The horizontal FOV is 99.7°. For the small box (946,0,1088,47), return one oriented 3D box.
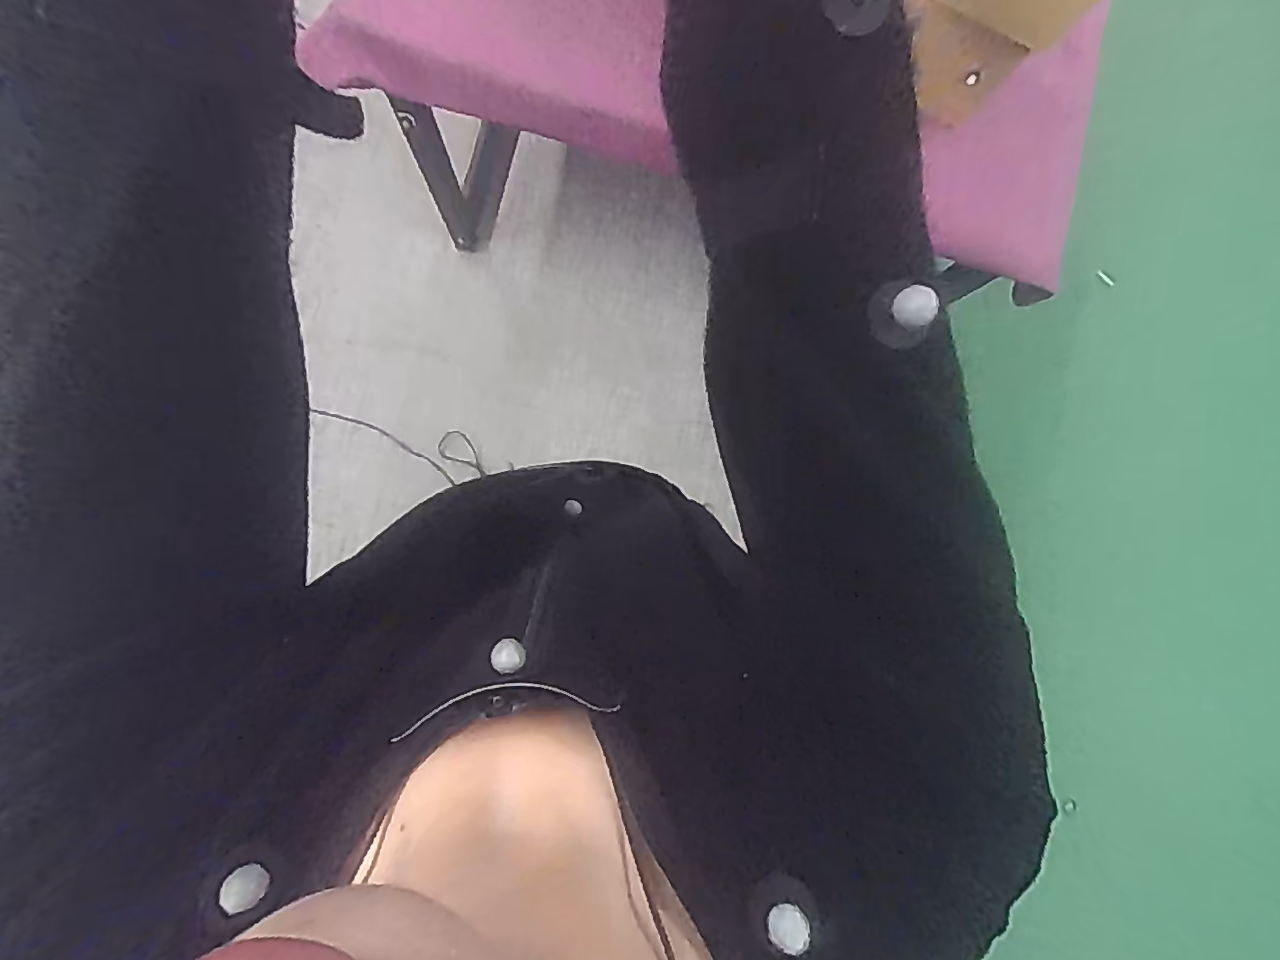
[{"bbox_3d":[0.508,-0.695,0.664,0.179,0.176,0.168,22,84,-6],"label":"small box"}]

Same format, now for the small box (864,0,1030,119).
[{"bbox_3d":[0.484,-0.702,0.827,0.179,0.176,0.168,23,84,-5],"label":"small box"}]
